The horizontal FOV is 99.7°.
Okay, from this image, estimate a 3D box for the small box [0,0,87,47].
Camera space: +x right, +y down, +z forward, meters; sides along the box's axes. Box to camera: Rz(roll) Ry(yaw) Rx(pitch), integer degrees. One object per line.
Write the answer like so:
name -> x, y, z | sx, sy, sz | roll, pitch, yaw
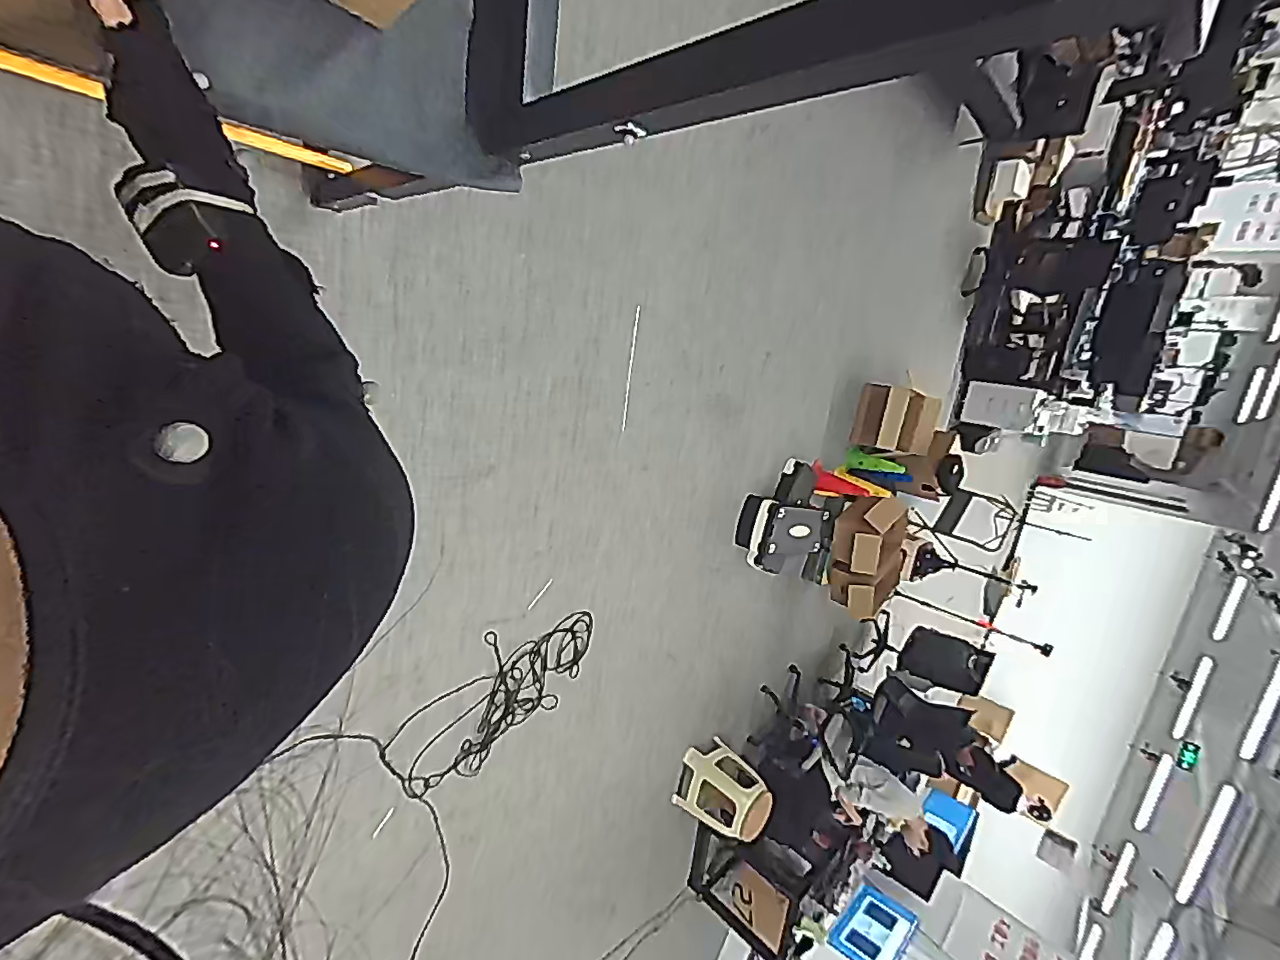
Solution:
small box -> -0.451, -0.411, 0.321 | 0.168, 0.176, 0.179 | -4, 105, -46
